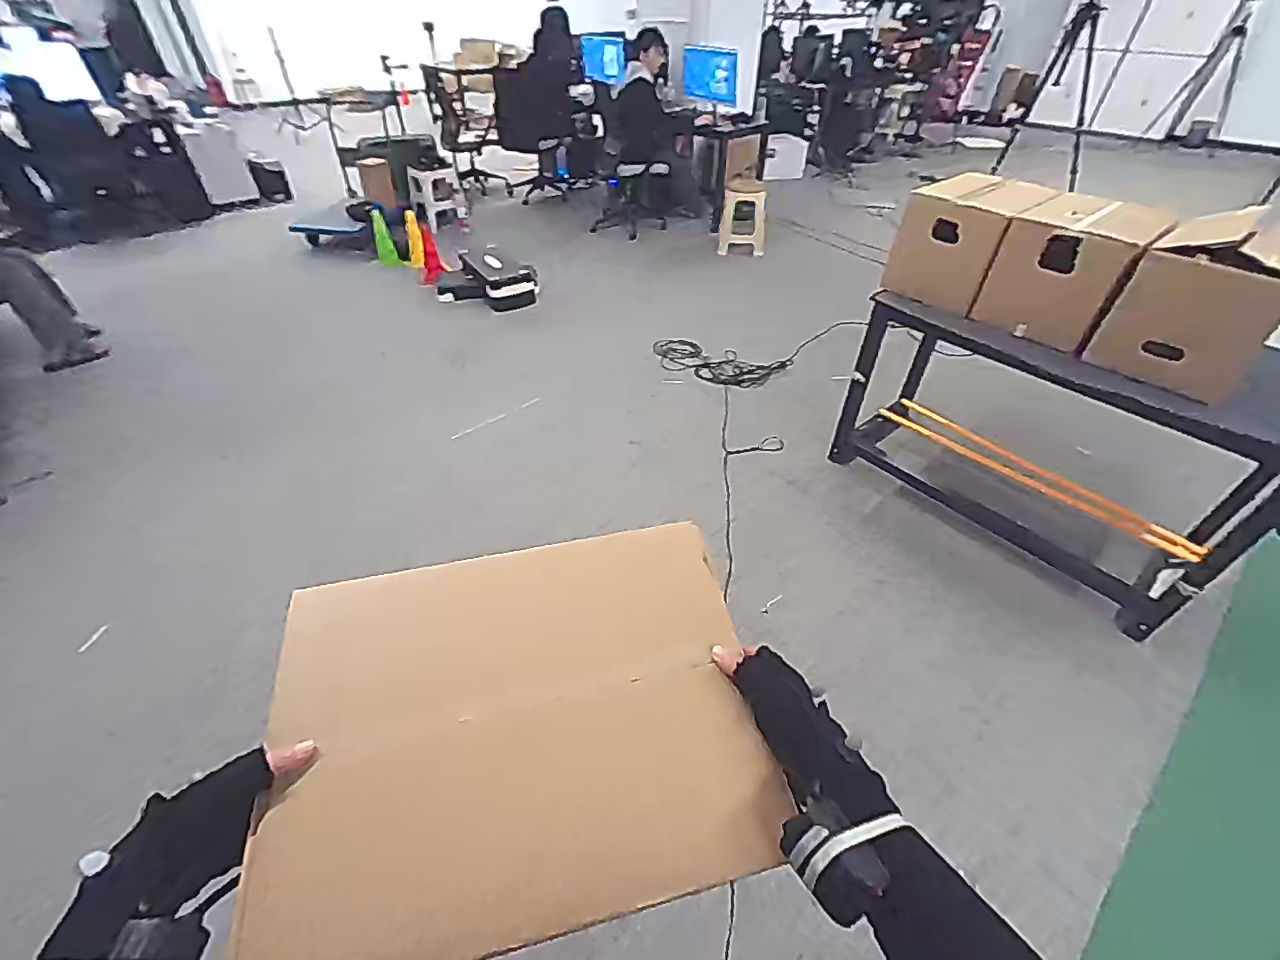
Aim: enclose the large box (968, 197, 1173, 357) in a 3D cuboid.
[{"bbox_3d":[1.289,-0.625,1.640,0.408,0.320,0.320,-31,49,-29],"label":"large box"}]
